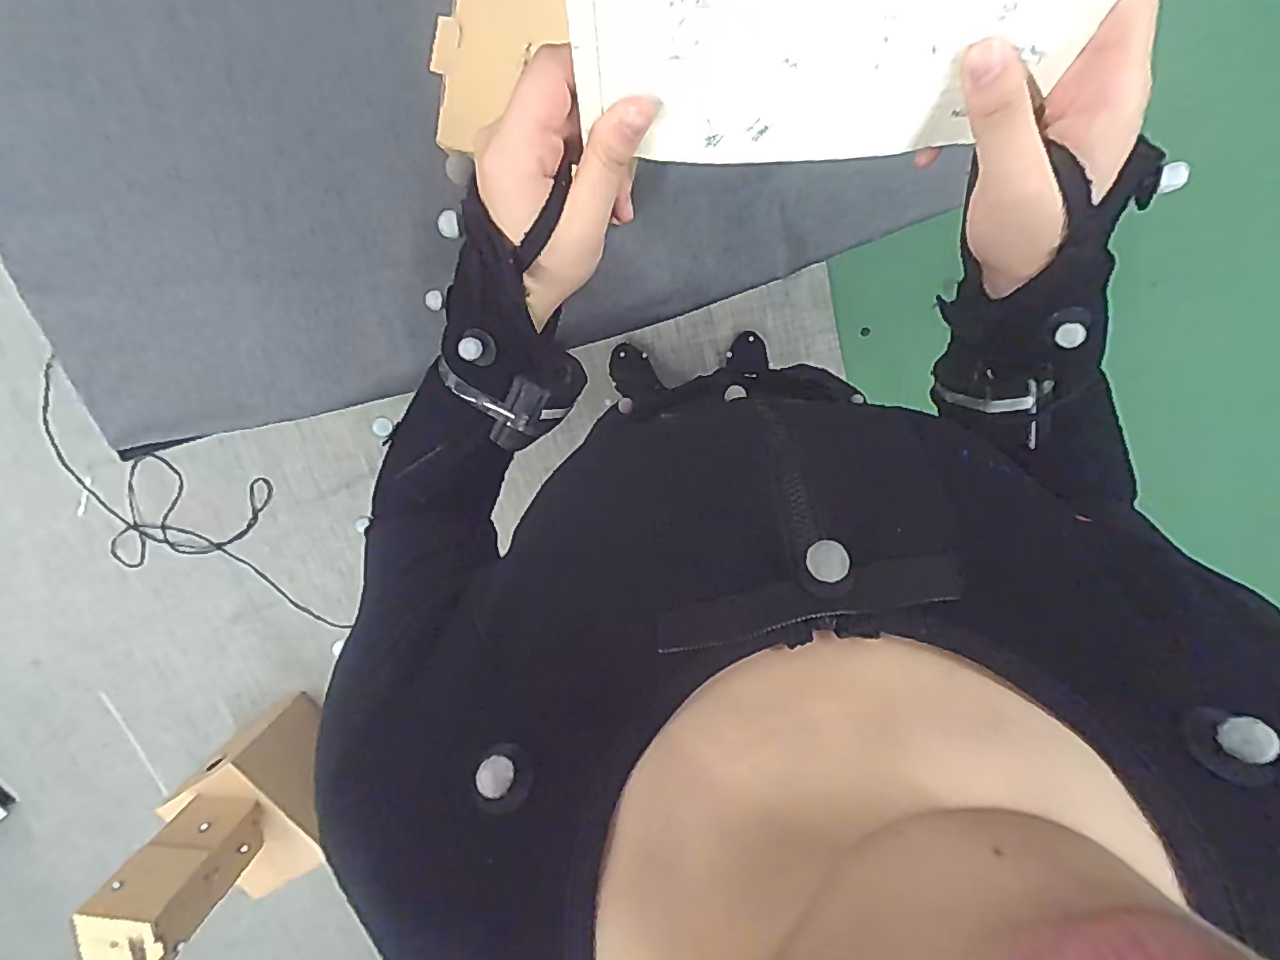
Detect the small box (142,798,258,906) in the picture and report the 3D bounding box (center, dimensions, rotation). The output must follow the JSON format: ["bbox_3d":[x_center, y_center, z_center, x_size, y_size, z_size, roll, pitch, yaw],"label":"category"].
[{"bbox_3d":[-1.143,0.974,1.425,0.179,0.176,0.168,6,105,-1],"label":"small box"}]

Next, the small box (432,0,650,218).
[{"bbox_3d":[-0.091,-0.391,0.568,0.179,0.176,0.168,14,105,0],"label":"small box"}]
